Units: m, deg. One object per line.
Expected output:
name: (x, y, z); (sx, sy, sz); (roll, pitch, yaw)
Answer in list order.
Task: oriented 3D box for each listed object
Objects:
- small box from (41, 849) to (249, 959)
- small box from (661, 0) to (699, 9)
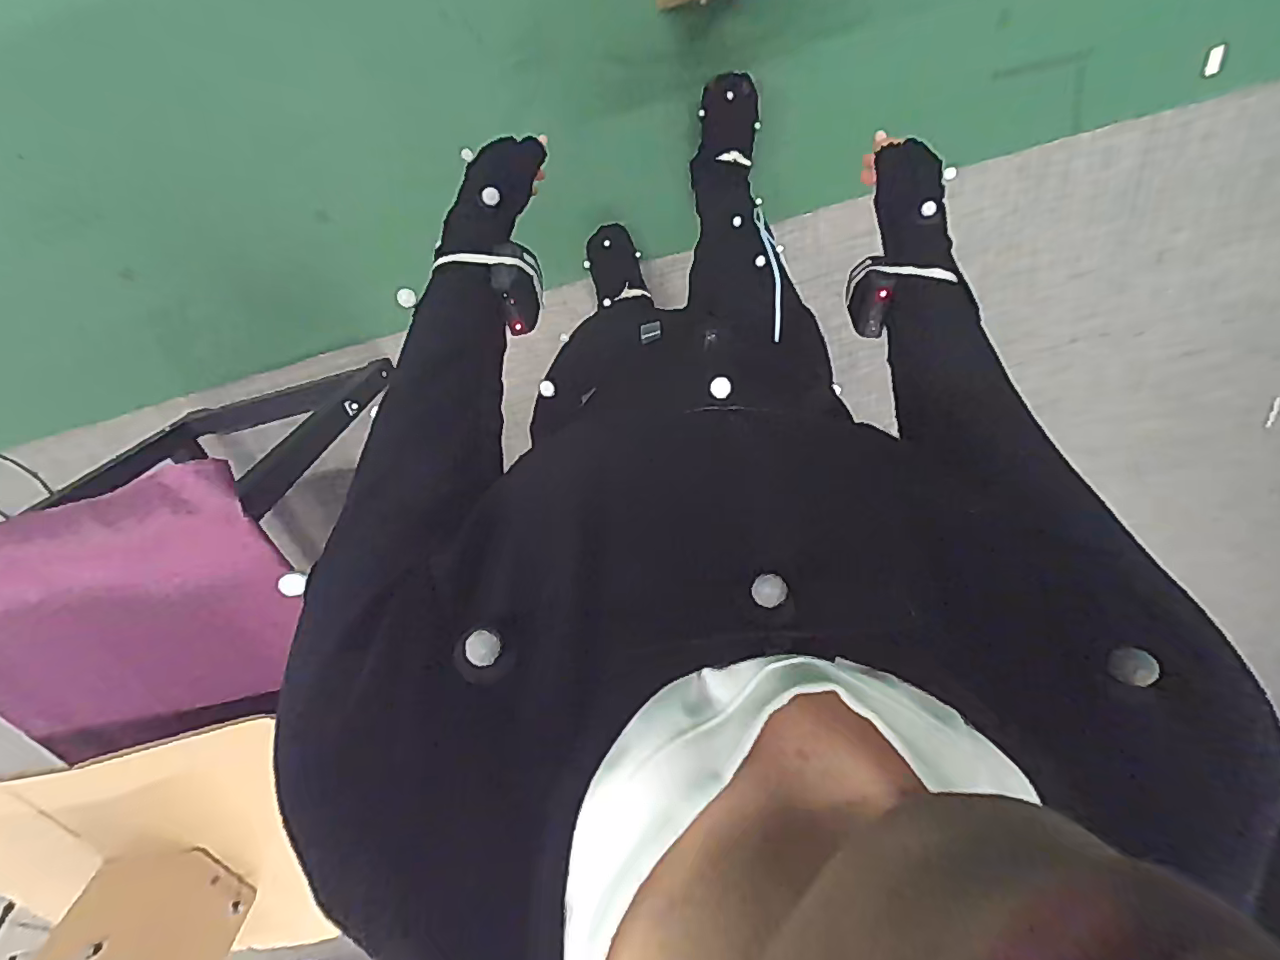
small box: (-0.759, 0.703, 0.840); (0.179, 0.176, 0.168); (-10, 121, 6)
small box: (0.104, -0.961, 0.933); (0.168, 0.176, 0.179); (-12, 121, 5)
